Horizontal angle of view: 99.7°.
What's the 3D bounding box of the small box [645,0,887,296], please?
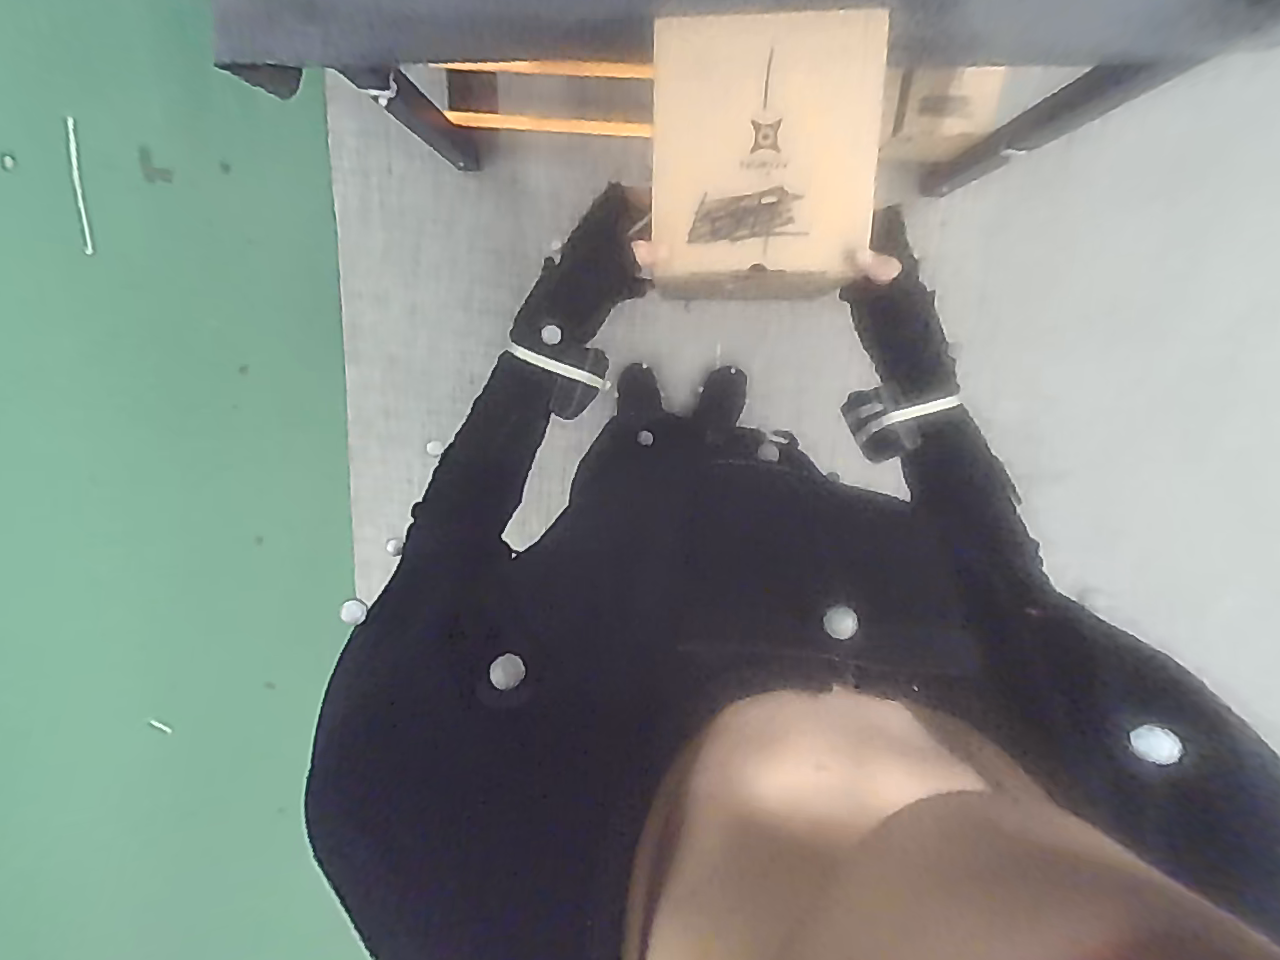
[{"bbox_3d":[0.095,-0.261,0.471,0.168,0.176,0.179,2,100,5],"label":"small box"}]
